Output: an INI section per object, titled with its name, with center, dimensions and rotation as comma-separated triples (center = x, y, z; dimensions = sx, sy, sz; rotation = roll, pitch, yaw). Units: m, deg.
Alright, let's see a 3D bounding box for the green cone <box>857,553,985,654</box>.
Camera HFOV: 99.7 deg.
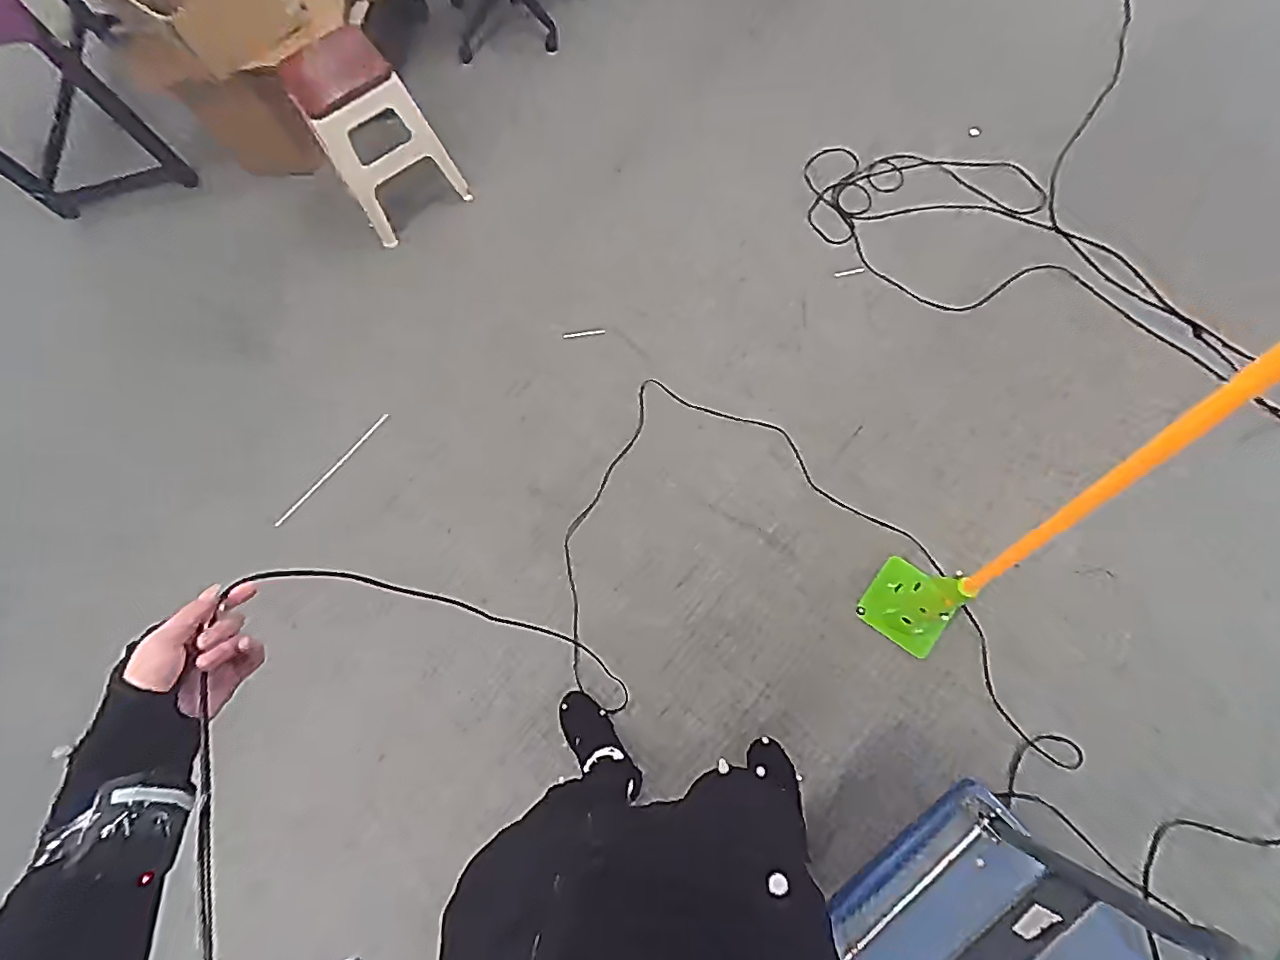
[green cone]
center = 0.676, 0.258, 1.231
dimensions = 0.200, 0.368, 0.202
rotation = 35, 78, 15
